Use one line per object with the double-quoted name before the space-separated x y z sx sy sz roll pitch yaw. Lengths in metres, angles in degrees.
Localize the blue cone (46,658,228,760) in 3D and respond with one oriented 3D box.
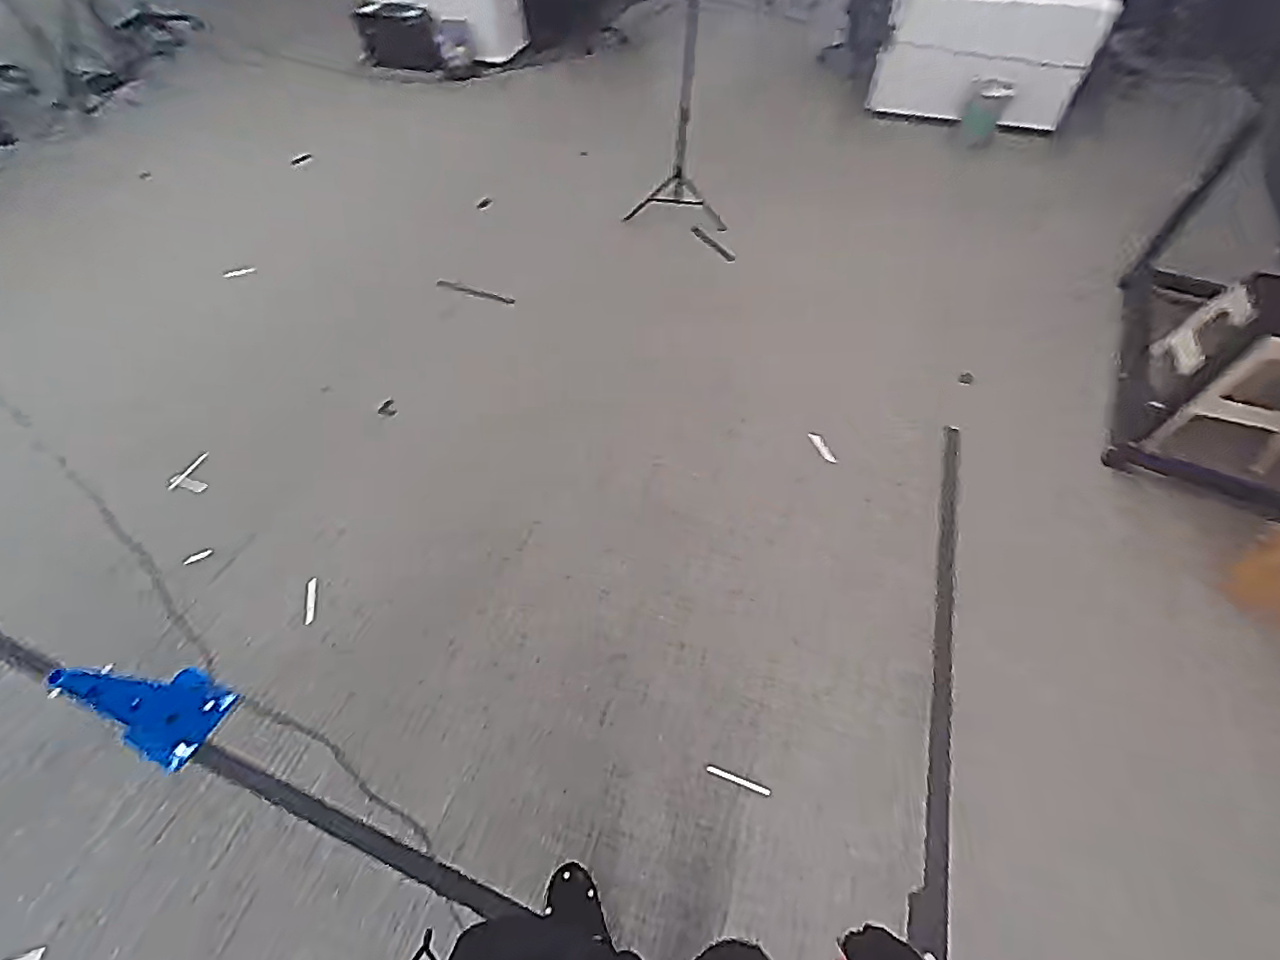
"blue cone" -1.166 0.479 1.223 0.192 0.380 0.193 19 56 15
